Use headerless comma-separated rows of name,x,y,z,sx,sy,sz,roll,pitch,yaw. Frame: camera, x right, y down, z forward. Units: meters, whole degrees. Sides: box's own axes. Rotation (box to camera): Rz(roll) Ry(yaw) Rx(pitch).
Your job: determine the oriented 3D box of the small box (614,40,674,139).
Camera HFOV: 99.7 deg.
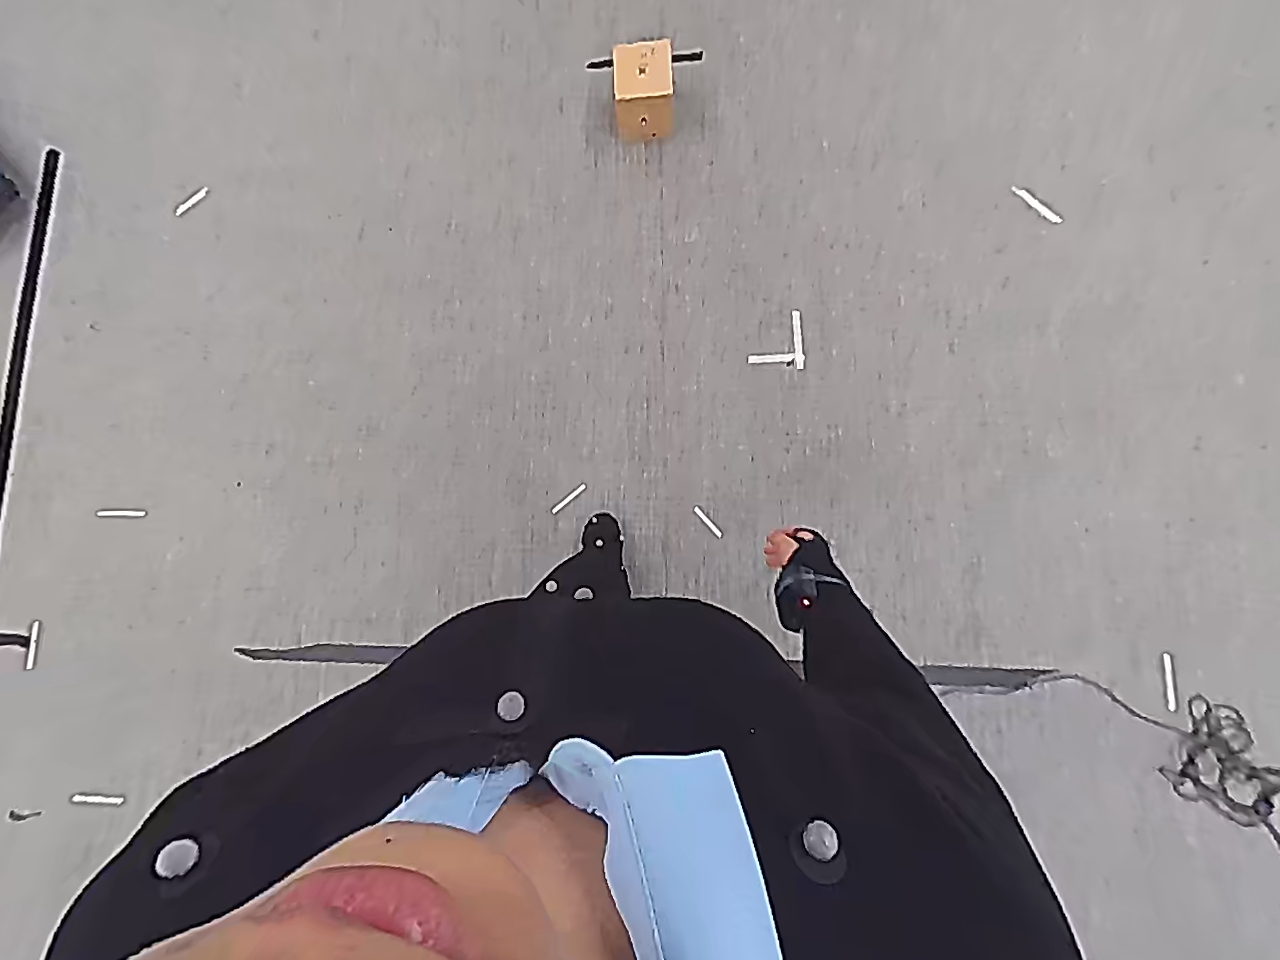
small box,0.015,-1.138,1.593,0.168,0.176,0.179,-2,82,4
